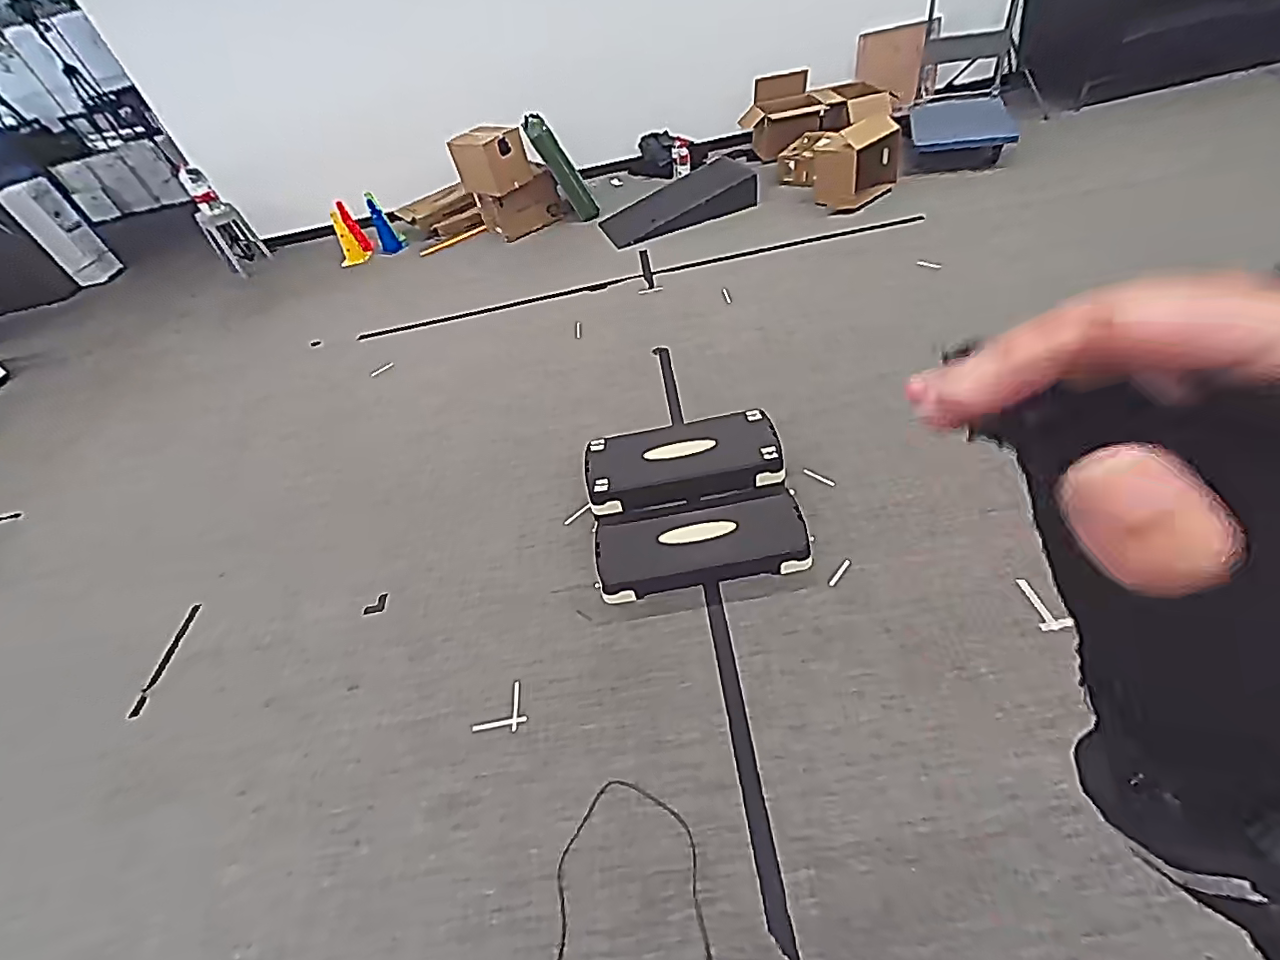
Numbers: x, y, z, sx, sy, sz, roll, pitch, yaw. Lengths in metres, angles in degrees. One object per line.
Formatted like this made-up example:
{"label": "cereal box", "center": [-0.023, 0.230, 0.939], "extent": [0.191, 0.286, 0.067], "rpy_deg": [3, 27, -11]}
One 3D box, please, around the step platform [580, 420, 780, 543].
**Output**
{"label": "step platform", "center": [0.132, 0.000, 1.892], "extent": [0.684, 0.204, 0.286], "rpy_deg": [-11, 46, 2]}
